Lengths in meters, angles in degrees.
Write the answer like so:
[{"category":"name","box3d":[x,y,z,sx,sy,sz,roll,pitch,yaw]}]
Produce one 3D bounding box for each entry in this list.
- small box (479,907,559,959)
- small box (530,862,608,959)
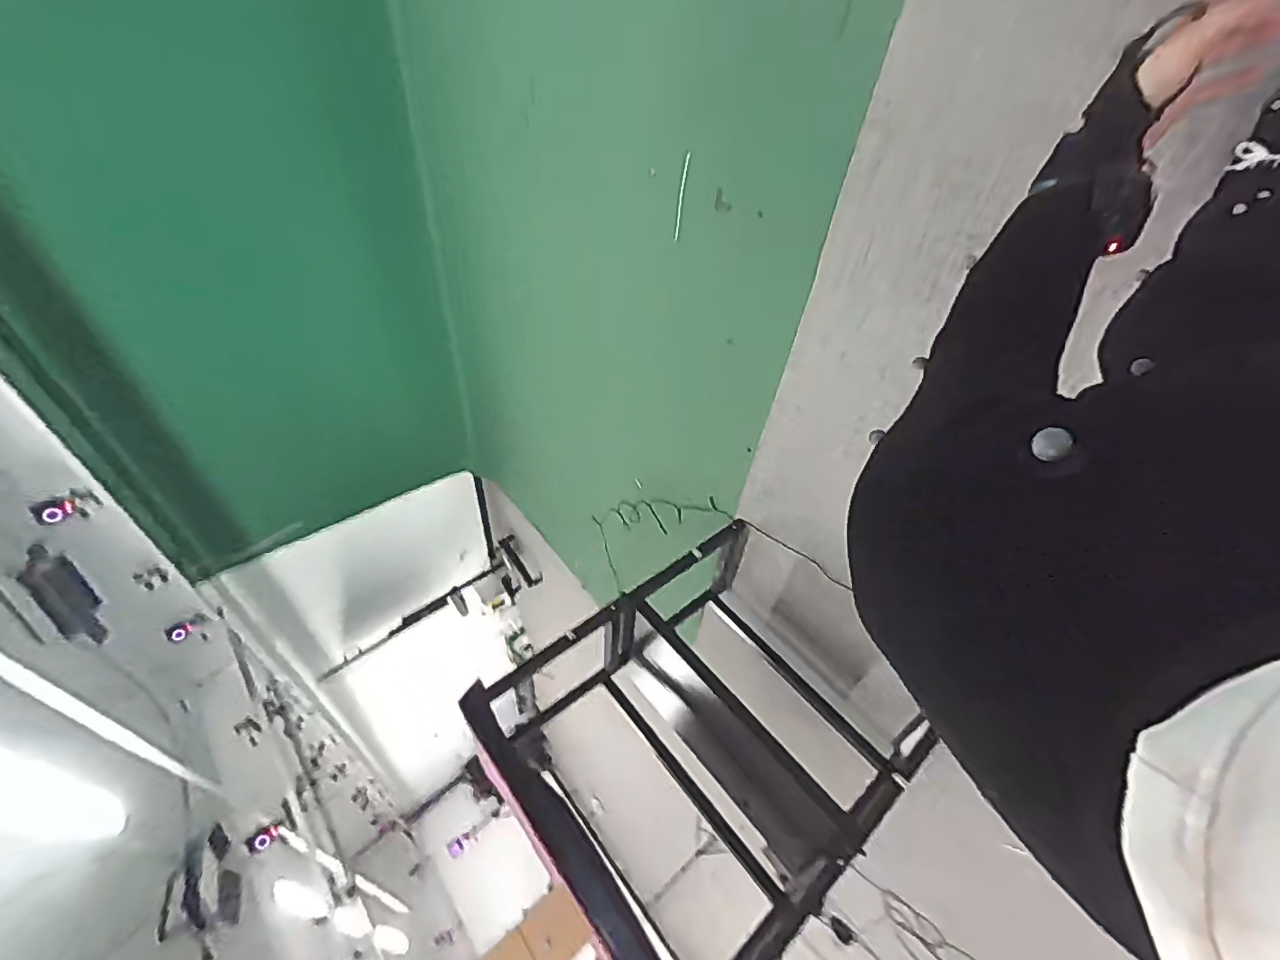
[{"category":"small box","box3d":[-0.340,1.378,1.562,0.179,0.176,0.168,43,148,29]},{"category":"small box","box3d":[-0.212,1.309,1.638,0.179,0.176,0.168,44,147,29]}]
